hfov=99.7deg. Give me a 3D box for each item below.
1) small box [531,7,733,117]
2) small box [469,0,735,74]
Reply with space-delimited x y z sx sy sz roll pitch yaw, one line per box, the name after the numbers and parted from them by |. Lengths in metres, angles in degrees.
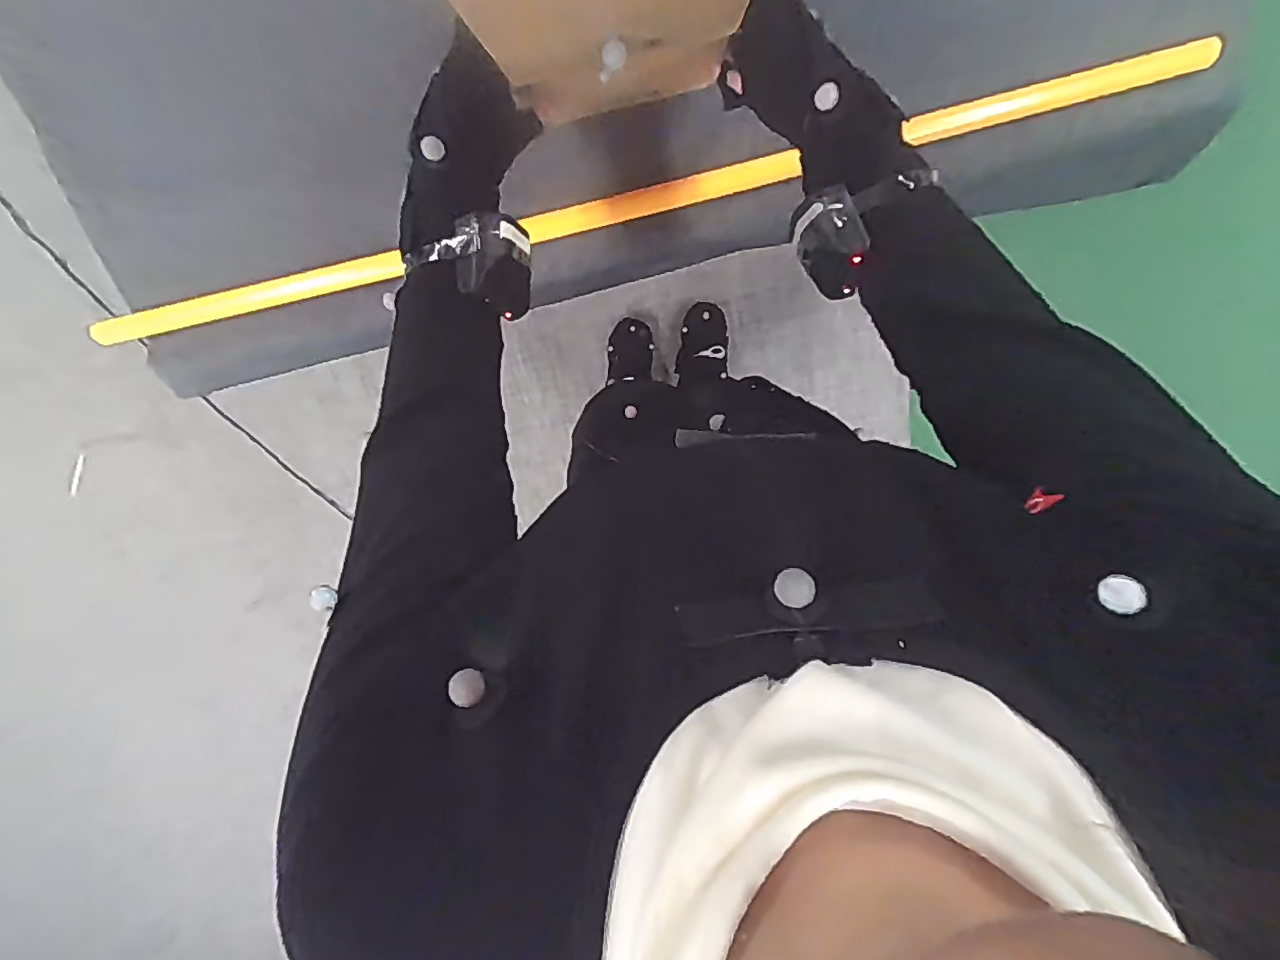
-0.028 -0.425 0.431 0.168 0.176 0.179 -10 112 5 | small box
-0.032 -0.354 0.282 0.168 0.176 0.179 -9 113 5 | small box
